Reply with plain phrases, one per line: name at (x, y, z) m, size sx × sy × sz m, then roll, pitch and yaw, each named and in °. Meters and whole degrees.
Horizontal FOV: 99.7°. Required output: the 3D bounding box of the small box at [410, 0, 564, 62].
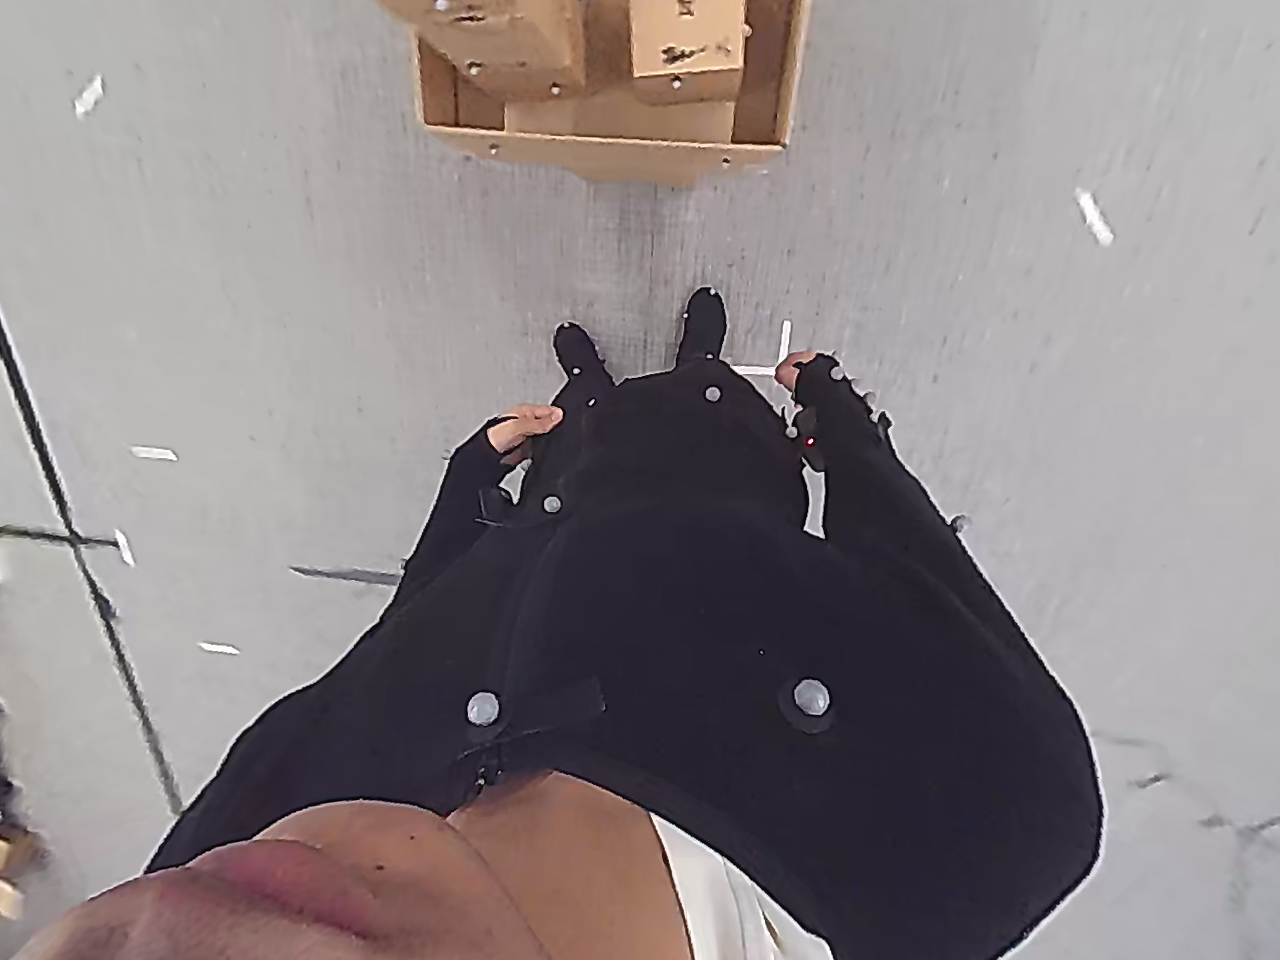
small box at (-0.200, -0.688, 0.722) m, size 0.168 × 0.176 × 0.179 m, roll 3°, pitch 110°, yaw 5°

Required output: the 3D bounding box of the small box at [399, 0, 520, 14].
small box at (-0.231, -0.638, 0.567) m, size 0.168 × 0.176 × 0.179 m, roll 2°, pitch 110°, yaw 6°
